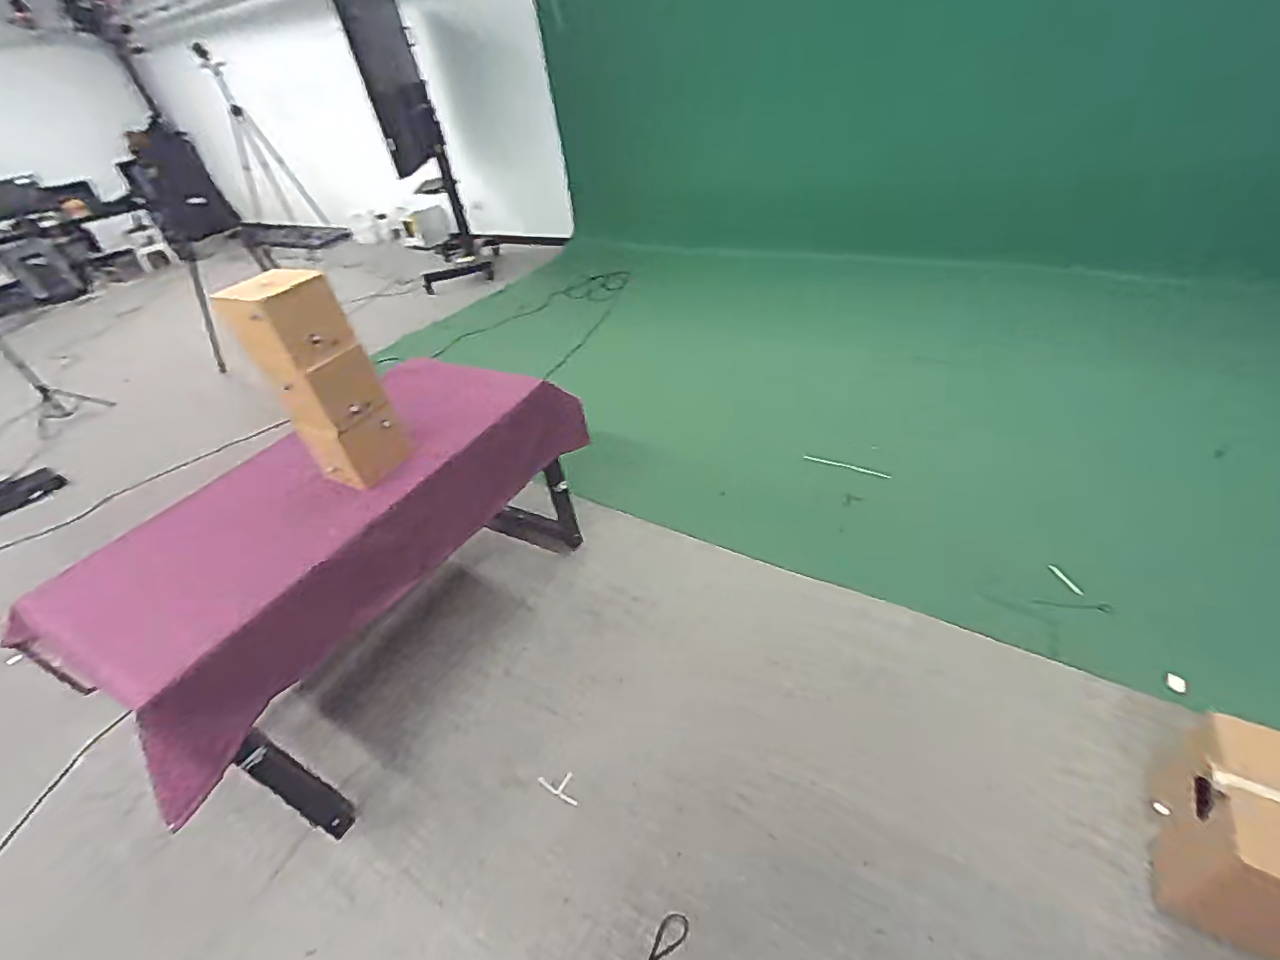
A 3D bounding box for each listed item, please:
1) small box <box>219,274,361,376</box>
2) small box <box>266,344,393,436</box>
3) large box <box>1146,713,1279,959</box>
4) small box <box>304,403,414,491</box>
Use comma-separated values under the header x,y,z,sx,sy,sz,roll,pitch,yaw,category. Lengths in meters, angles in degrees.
x,y,z,sx,sy,sz,roll,pitch,yaw,category
-0.776,-0.349,1.215,0.179,0.176,0.168,12,44,24,small box
-0.747,-0.225,1.316,0.179,0.176,0.168,14,45,26,small box
1.300,0.731,1.029,0.408,0.320,0.320,17,45,27,large box
-0.722,-0.099,1.417,0.168,0.176,0.179,14,44,27,small box
